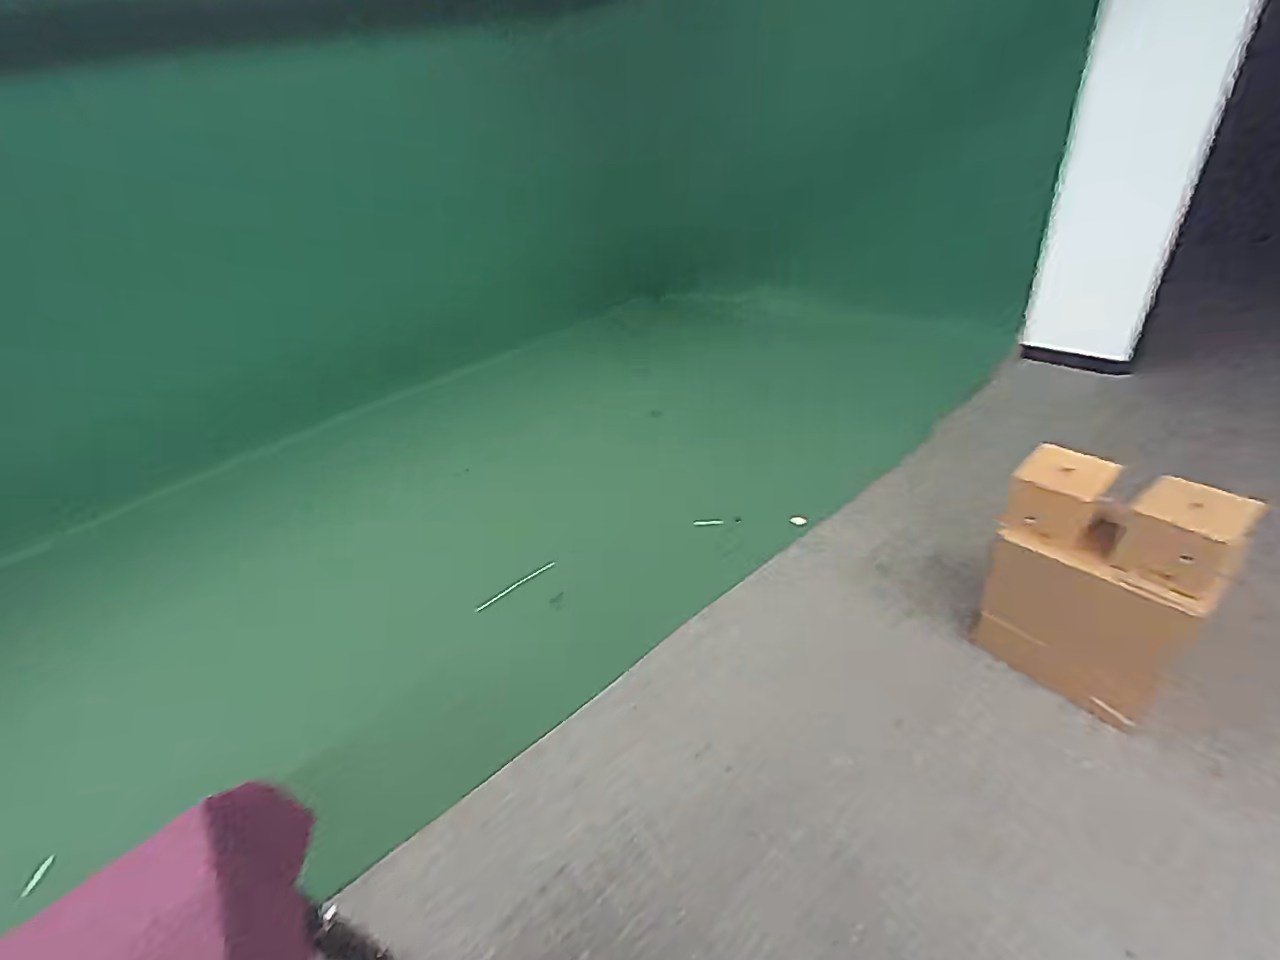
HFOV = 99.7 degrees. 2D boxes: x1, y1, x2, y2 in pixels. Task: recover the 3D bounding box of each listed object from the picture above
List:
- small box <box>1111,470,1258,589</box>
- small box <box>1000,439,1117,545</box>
[{"bbox_3d":[1.198,0.110,1.203,0.179,0.176,0.168,-28,37,-23],"label":"small box"},{"bbox_3d":[1.046,0.029,1.366,0.179,0.176,0.168,-34,42,-24],"label":"small box"}]
